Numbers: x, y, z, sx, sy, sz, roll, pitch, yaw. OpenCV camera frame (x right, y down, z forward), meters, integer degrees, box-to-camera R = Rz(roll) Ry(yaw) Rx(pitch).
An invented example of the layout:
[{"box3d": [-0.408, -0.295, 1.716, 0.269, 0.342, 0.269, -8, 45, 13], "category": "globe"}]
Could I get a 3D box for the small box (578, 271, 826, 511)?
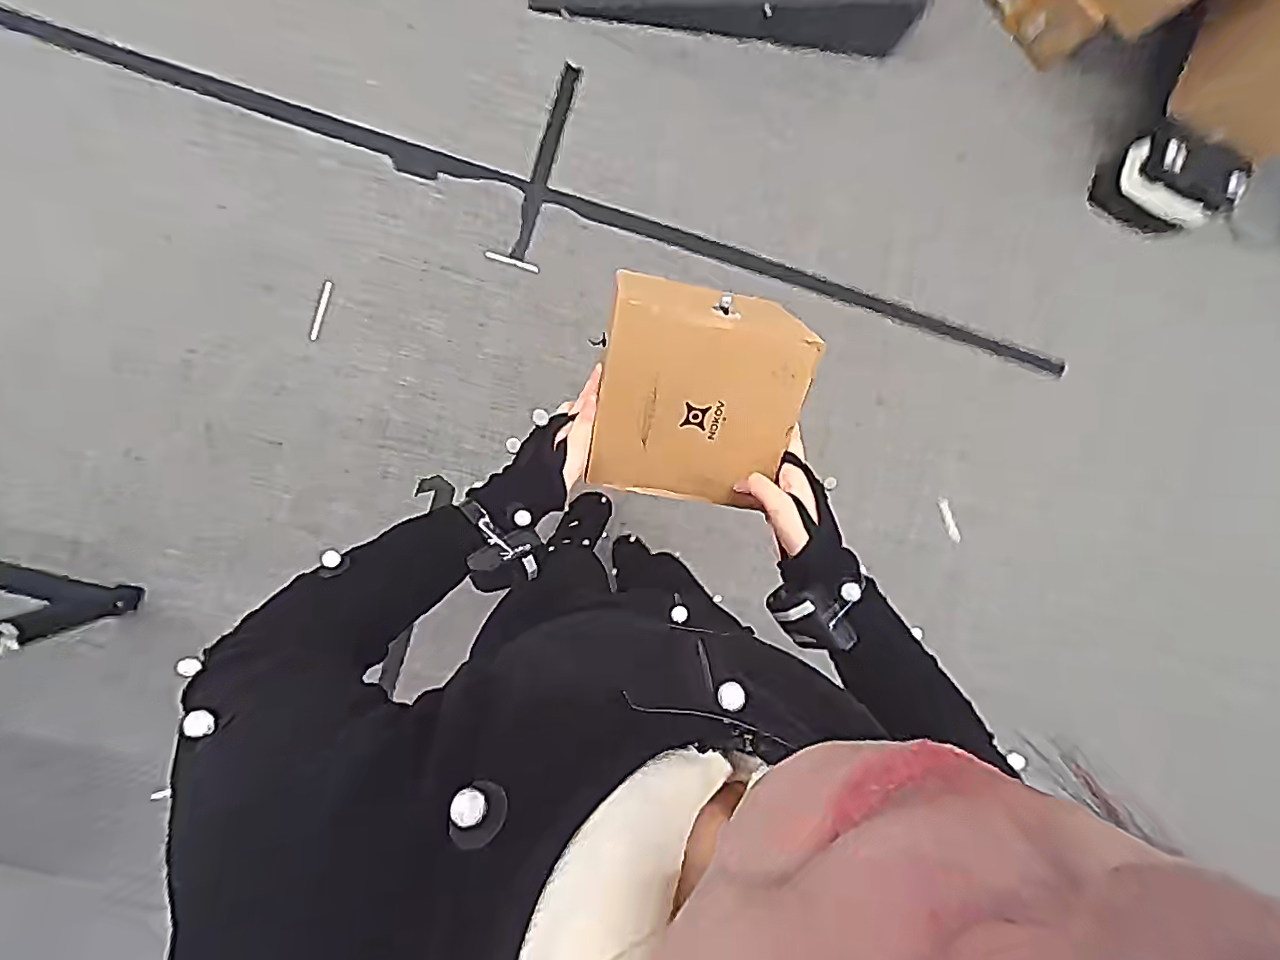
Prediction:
[{"box3d": [0.042, -0.092, 0.517, 0.179, 0.176, 0.168, 9, 118, -8], "category": "small box"}]
